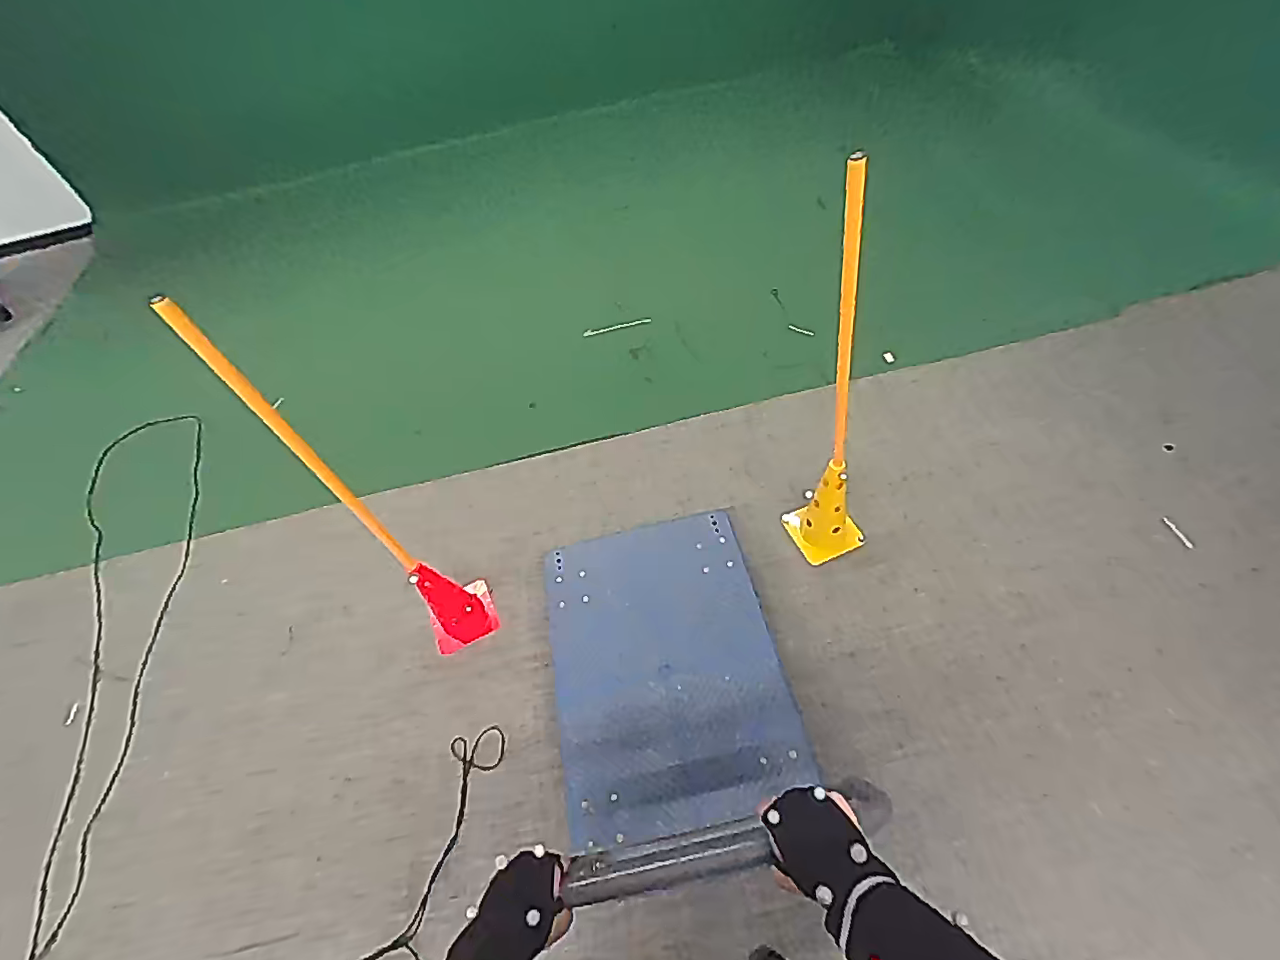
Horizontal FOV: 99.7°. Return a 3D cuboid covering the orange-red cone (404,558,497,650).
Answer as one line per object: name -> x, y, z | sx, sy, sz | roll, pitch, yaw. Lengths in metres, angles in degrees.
orange-red cone -> -0.594, 0.329, 1.593 | 0.199, 0.360, 0.198 | -26, 54, -8
